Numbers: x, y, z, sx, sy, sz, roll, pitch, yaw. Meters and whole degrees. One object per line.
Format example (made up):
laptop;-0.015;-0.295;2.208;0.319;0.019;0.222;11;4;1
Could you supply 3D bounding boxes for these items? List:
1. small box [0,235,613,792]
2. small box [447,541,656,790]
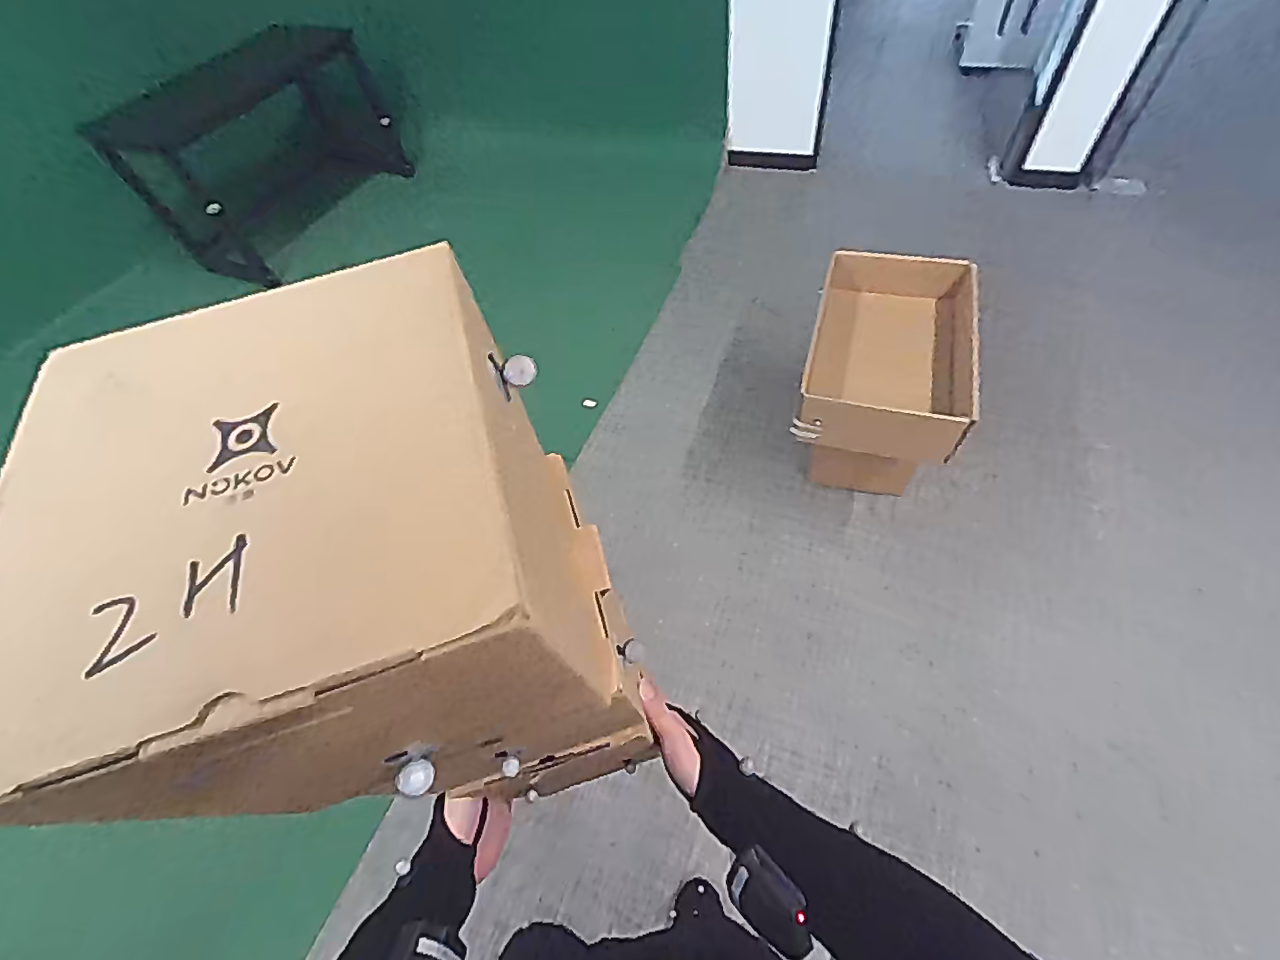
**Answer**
small box;-0.119;0.027;0.252;0.168;0.176;0.179;-17;60;-4
small box;-0.085;0.188;0.537;0.168;0.176;0.179;-15;59;-4
